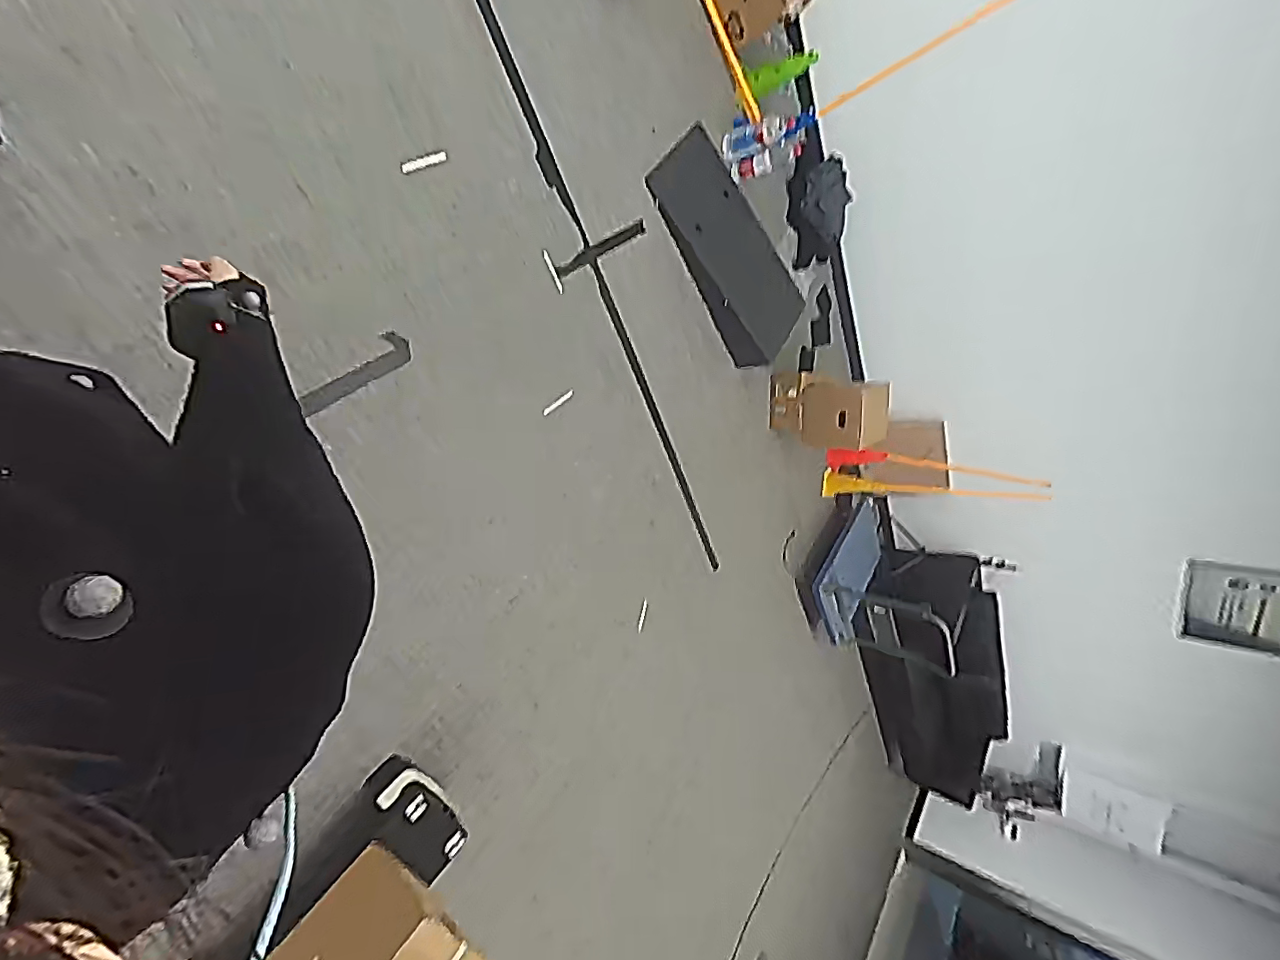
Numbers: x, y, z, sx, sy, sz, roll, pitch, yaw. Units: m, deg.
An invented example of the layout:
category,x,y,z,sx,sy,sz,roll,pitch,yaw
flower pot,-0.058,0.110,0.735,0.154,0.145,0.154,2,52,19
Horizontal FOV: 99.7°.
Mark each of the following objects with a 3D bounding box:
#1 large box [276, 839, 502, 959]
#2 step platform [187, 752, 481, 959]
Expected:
category,x,y,z,sx,sy,sz,roll,pitch,yaw
large box,-0.608,1.150,1.229,0.408,0.320,0.320,-46,126,-35
step platform,-0.757,1.087,1.413,0.684,0.204,0.286,-40,122,-38
